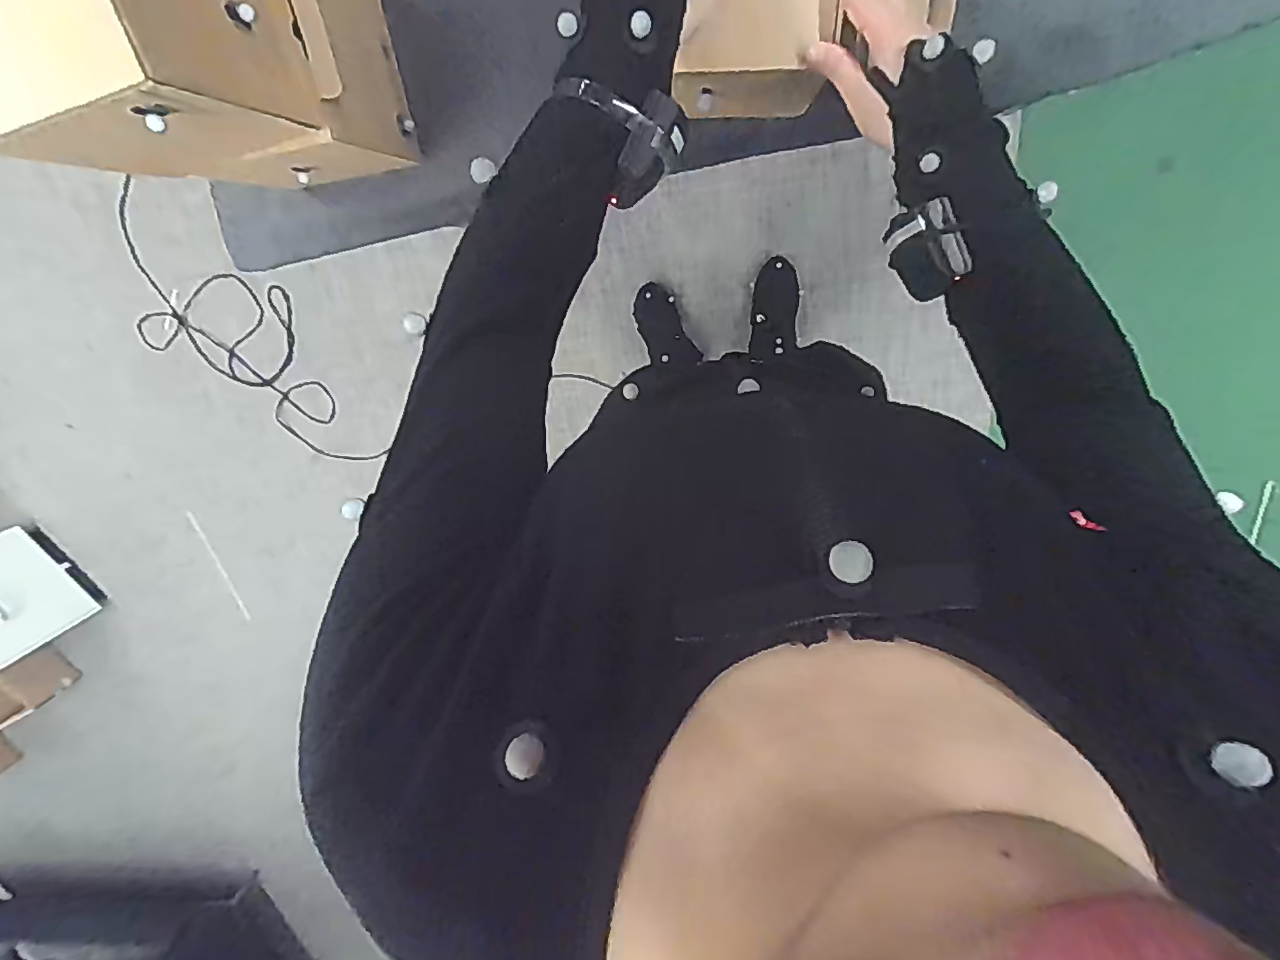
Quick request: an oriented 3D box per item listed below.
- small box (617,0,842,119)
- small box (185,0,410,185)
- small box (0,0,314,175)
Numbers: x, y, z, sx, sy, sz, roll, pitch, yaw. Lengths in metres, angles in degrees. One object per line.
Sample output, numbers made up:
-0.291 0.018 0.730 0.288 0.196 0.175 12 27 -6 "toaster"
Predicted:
0.079 -0.434 0.480 0.179 0.176 0.168 3 114 6 "small box"
-0.364 -0.412 0.555 0.179 0.176 0.168 -4 113 11 "small box"
-0.401 -0.348 0.410 0.179 0.176 0.168 -9 112 12 "small box"
